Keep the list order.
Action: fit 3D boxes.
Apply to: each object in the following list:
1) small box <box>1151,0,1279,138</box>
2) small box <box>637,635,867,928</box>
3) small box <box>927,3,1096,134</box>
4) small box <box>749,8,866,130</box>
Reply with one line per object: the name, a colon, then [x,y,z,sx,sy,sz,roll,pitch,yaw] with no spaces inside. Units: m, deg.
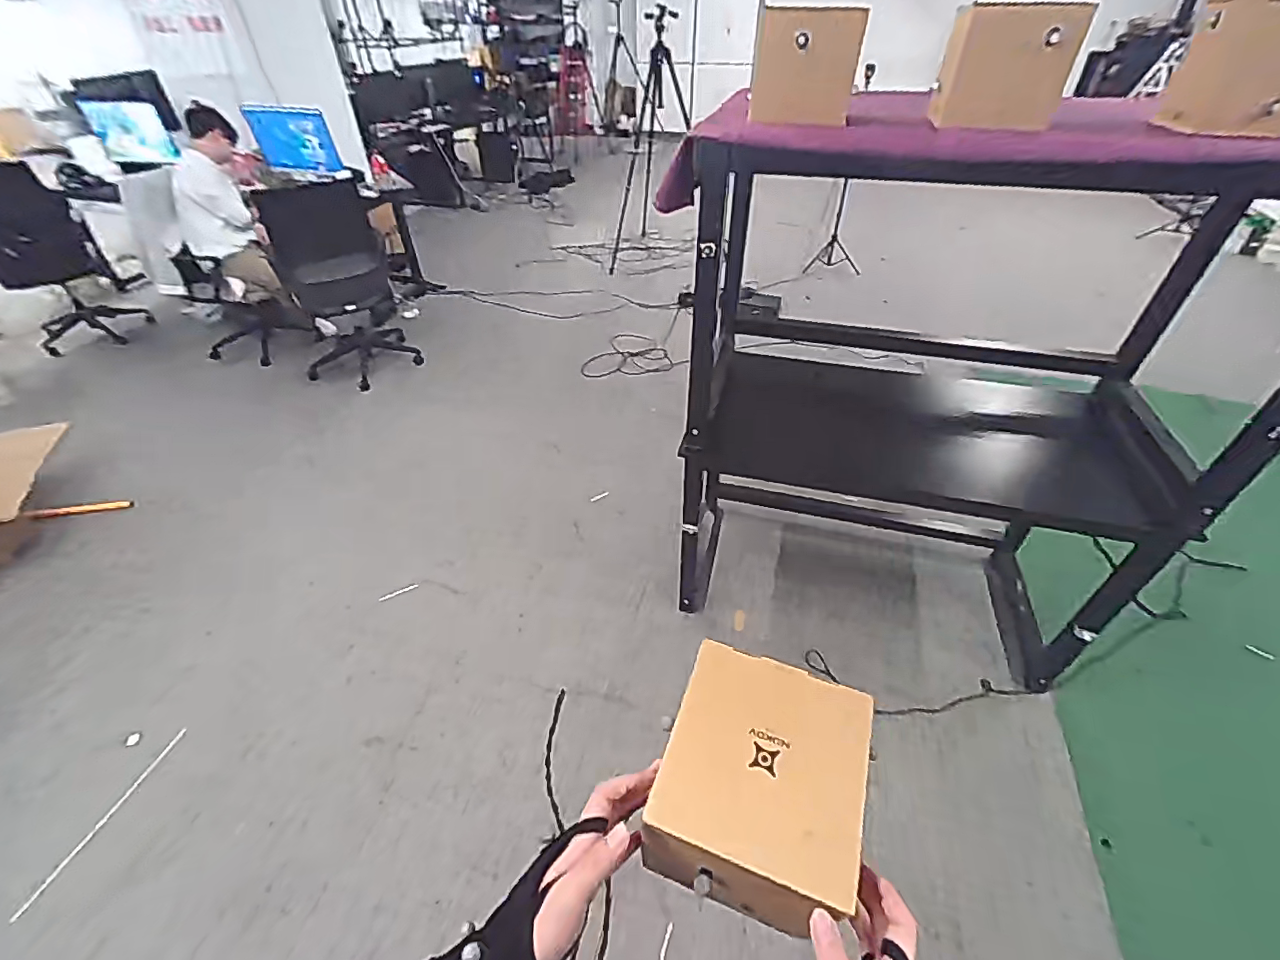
small box: [0.981,-0.648,0.851,0.179,0.176,0.168,10,40,12]
small box: [0.106,0.288,0.521,0.168,0.176,0.179,14,45,16]
small box: [0.622,-0.710,0.934,0.179,0.176,0.168,10,41,13]
small box: [0.300,-0.756,0.997,0.179,0.176,0.168,8,42,10]
